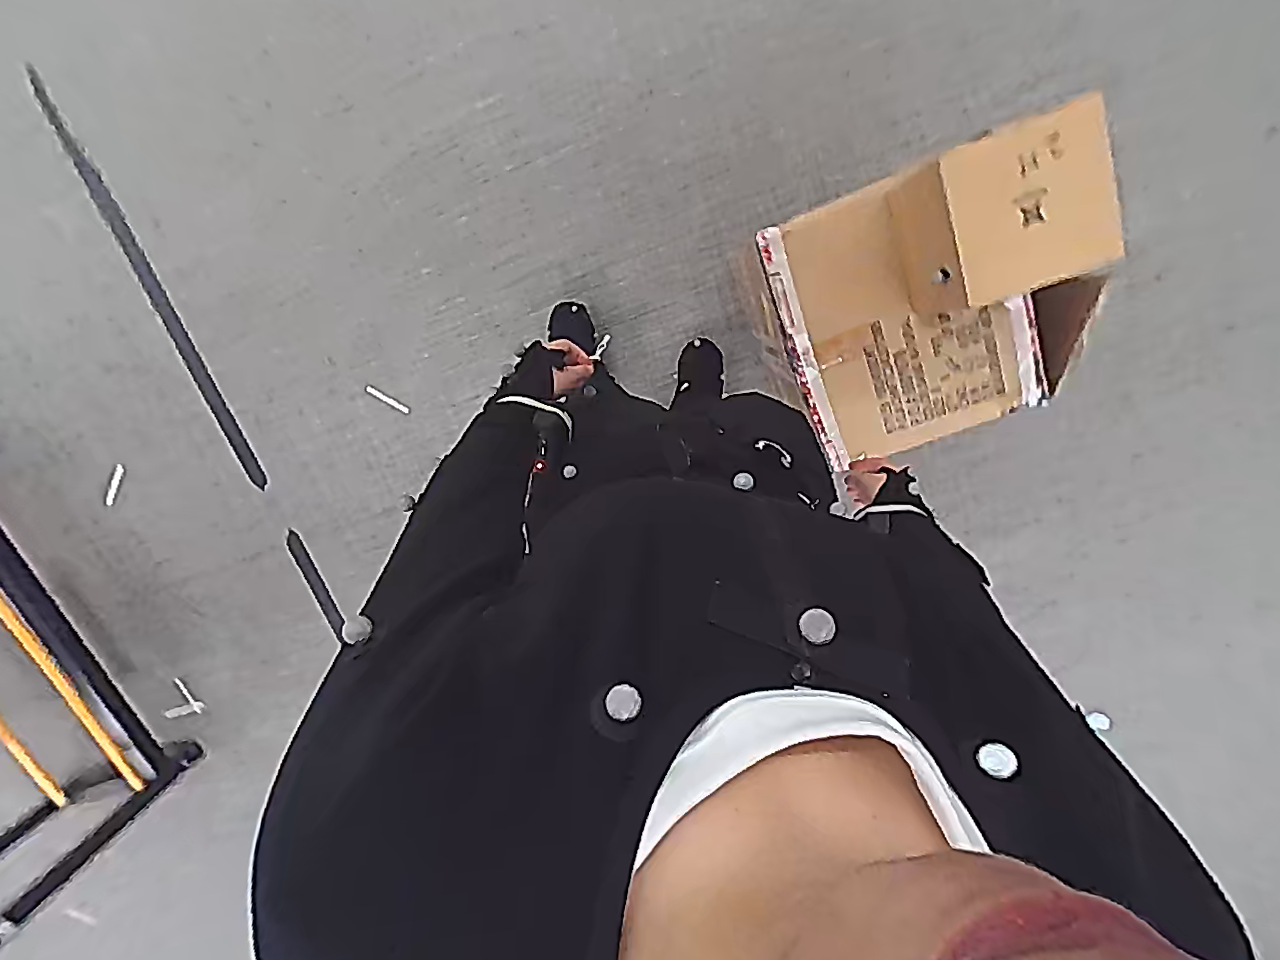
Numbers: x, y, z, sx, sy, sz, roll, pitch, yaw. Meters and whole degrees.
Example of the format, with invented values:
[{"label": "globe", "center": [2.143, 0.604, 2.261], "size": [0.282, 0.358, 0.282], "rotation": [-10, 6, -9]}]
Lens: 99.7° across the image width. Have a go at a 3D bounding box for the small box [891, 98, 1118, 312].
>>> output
[{"label": "small box", "center": [0.438, -0.321, 0.675], "size": [0.168, 0.176, 0.179], "rotation": [-17, 102, 10]}]
